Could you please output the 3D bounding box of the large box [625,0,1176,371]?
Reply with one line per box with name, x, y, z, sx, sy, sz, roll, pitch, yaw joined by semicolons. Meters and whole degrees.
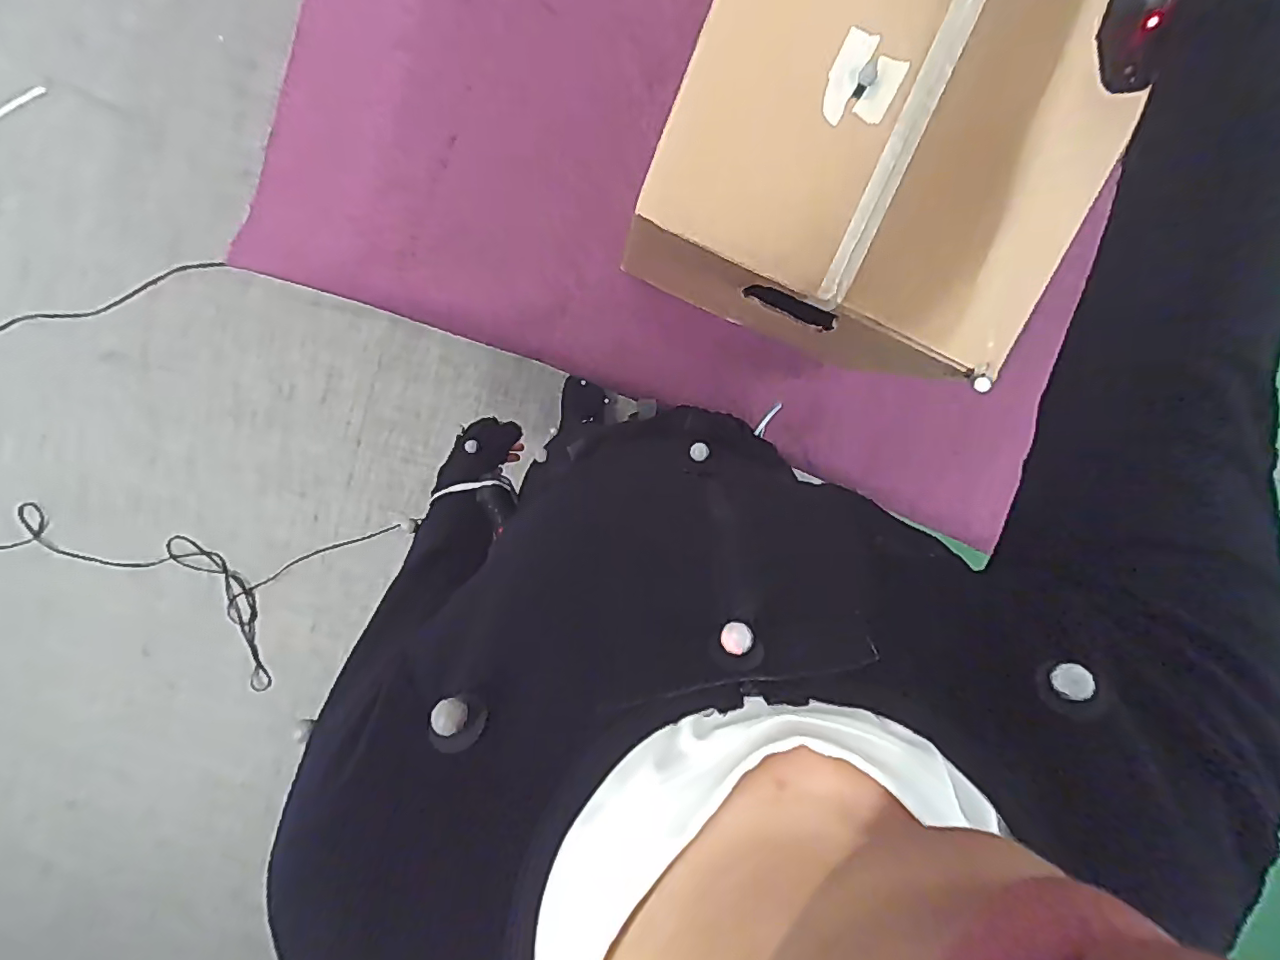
large box;0.203;-0.361;0.529;0.320;0.320;0.408;22;102;-8
